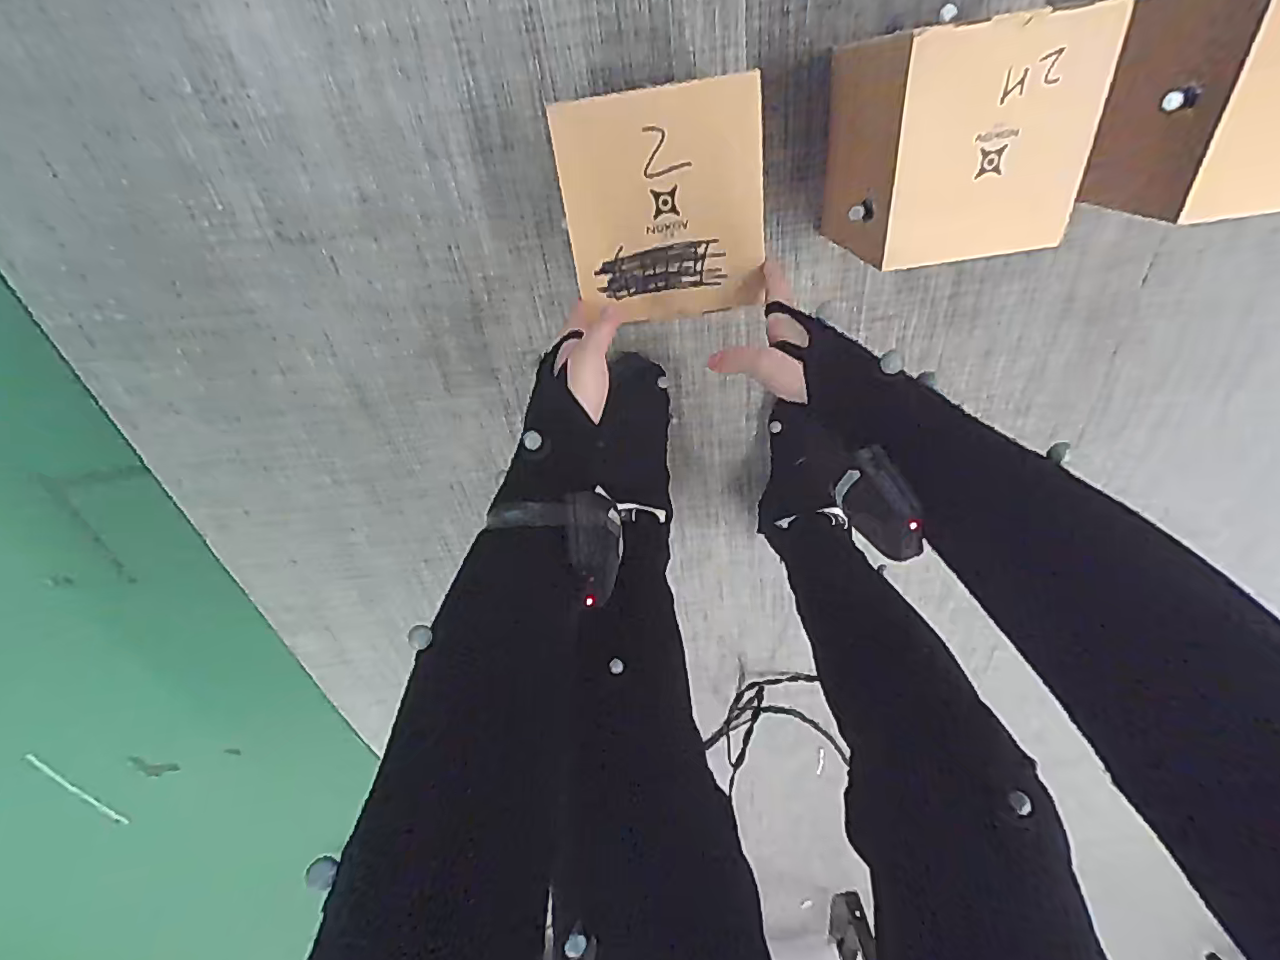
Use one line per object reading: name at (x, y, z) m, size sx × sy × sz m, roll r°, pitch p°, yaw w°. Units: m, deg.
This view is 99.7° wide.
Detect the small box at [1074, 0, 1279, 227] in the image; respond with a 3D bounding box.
small box at (0.552, -0.358, 0.511) m, size 0.168 × 0.176 × 0.179 m, roll -8°, pitch 124°, yaw 1°

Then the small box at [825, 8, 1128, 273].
small box at (0.288, -0.316, 0.516) m, size 0.168 × 0.176 × 0.179 m, roll -8°, pitch 124°, yaw 1°
